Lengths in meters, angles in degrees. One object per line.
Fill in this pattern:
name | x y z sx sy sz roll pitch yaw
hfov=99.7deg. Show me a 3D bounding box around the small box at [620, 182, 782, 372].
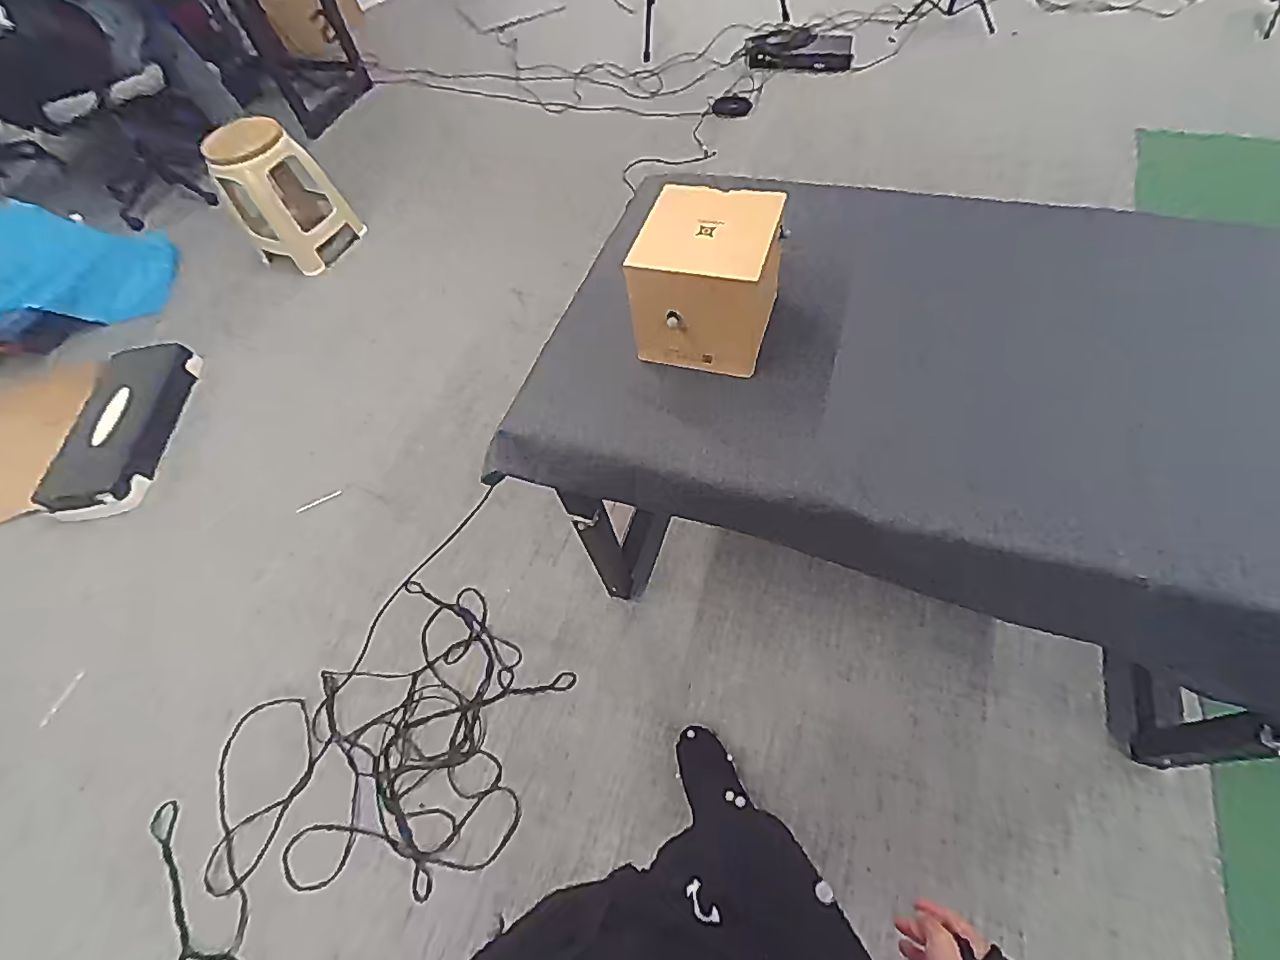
small box | 0.088 -0.271 0.734 0.168 0.176 0.179 12 60 15
